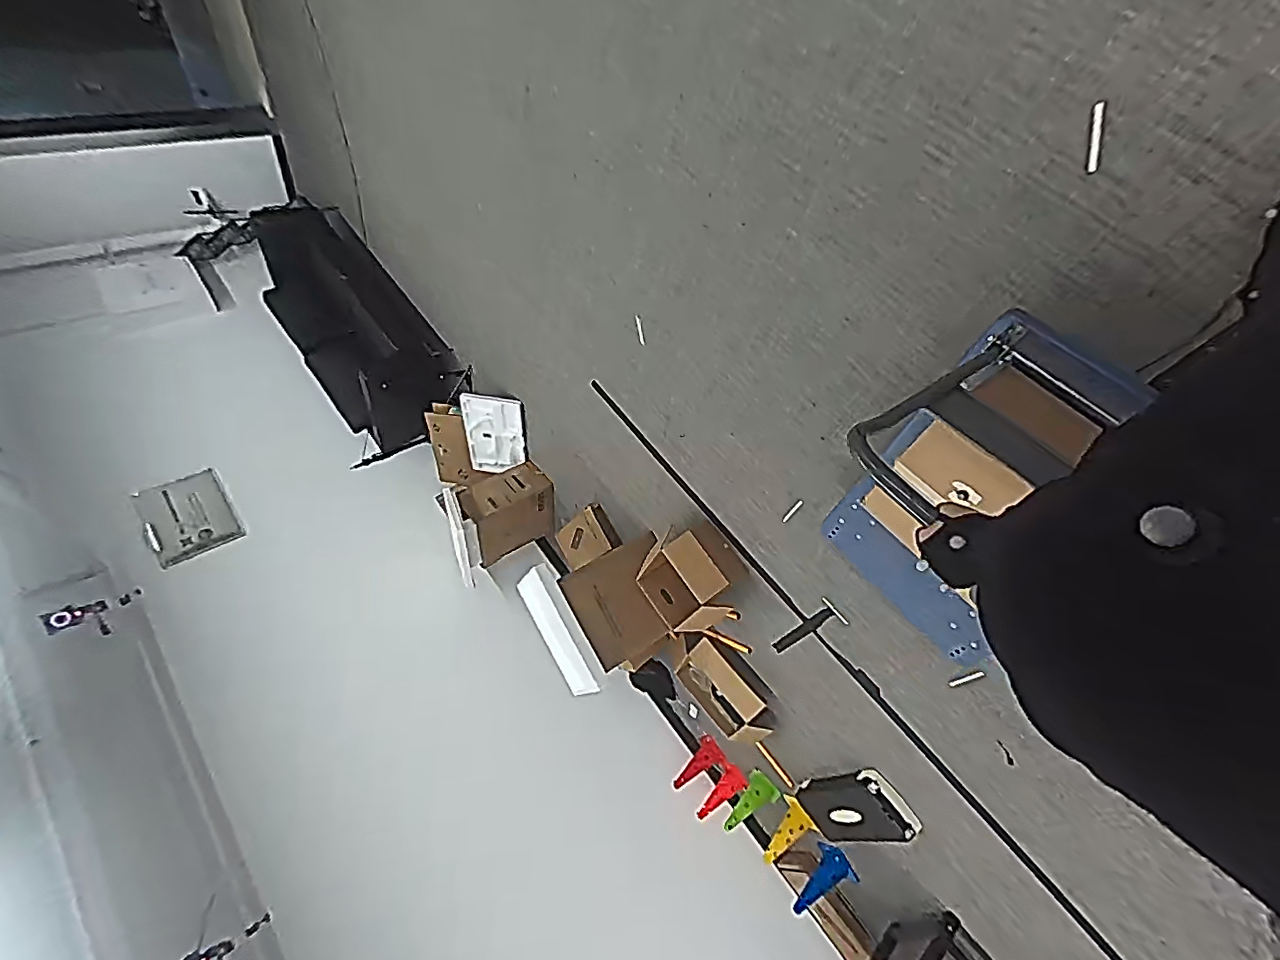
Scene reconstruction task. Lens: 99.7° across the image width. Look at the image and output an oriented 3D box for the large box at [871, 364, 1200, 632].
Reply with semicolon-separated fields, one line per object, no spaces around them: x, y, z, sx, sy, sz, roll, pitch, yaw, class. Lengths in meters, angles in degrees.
0.798;0.027;1.135;0.408;0.320;0.320;49;146;23;large box
